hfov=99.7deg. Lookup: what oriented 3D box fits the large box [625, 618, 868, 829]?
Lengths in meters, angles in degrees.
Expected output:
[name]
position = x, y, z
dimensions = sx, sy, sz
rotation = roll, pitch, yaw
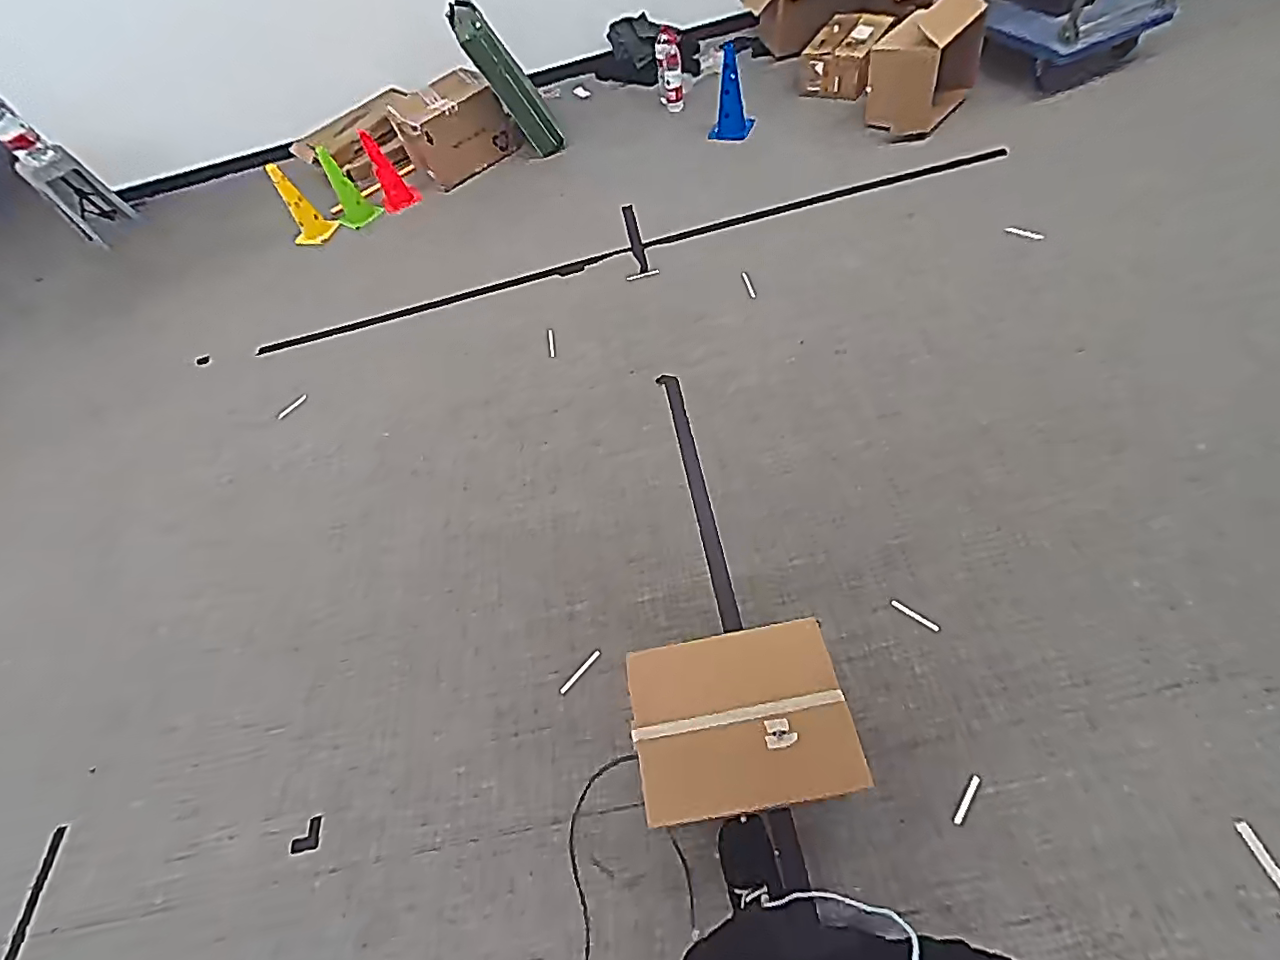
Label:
[large box]
position = 0.205, 0.528, 1.153
dimensions = 0.408, 0.320, 0.320
rotation = -12, 57, 3
